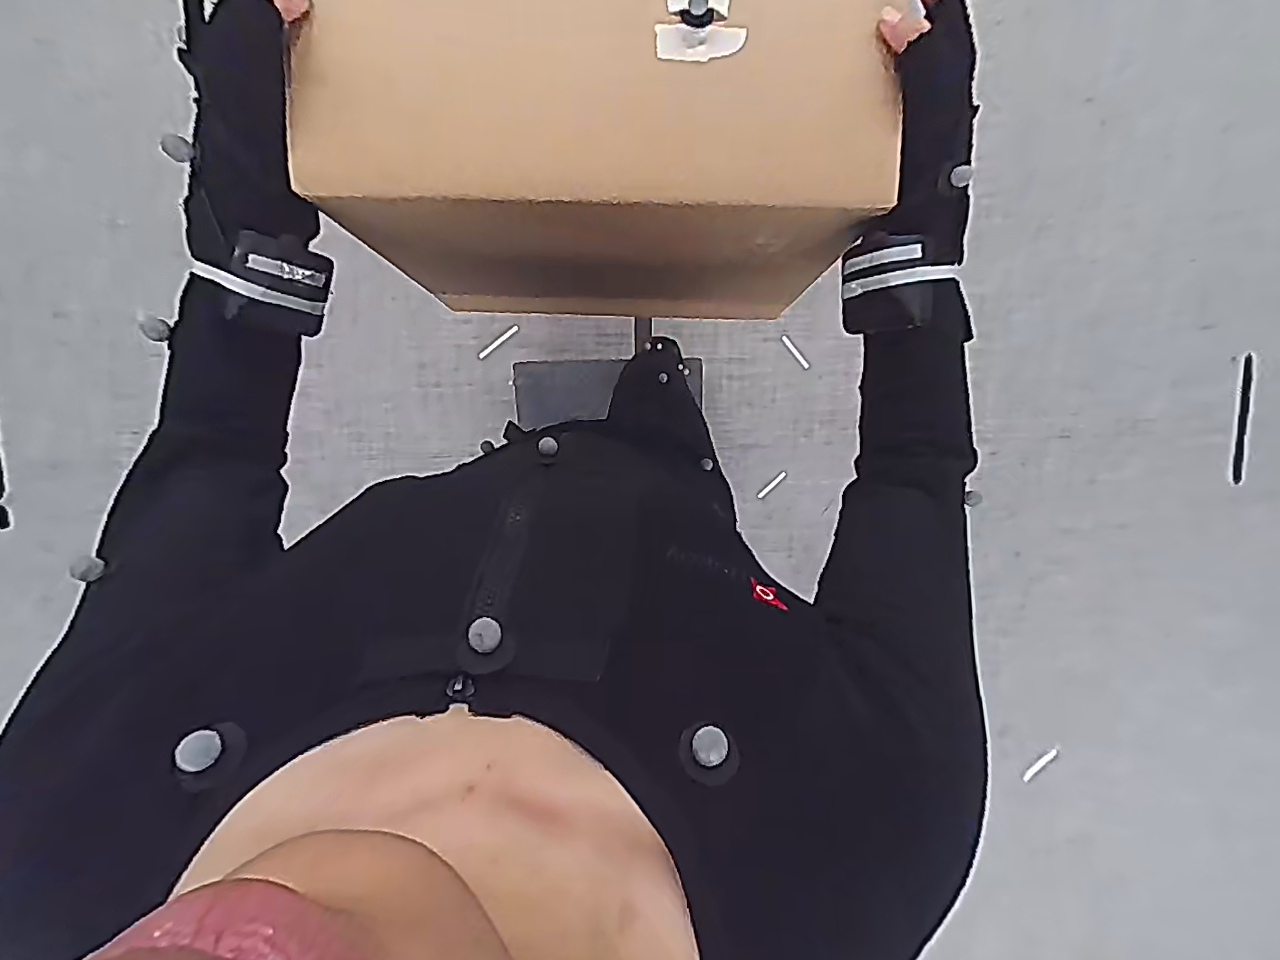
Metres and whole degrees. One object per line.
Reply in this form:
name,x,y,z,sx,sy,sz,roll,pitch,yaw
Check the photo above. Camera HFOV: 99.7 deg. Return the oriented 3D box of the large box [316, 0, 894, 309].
large box,-0.025,-0.359,0.518,0.408,0.320,0.320,1,93,0
